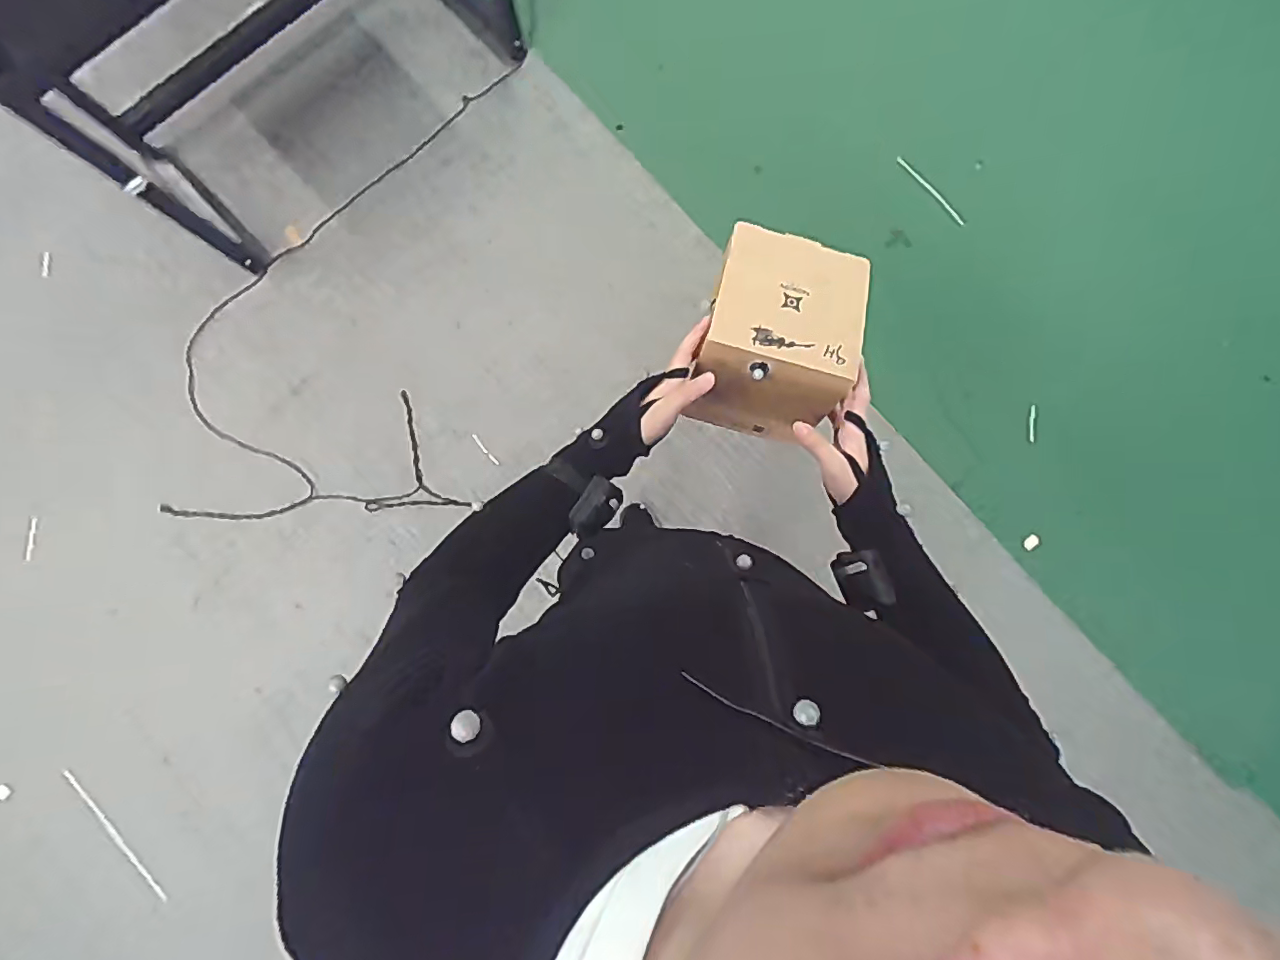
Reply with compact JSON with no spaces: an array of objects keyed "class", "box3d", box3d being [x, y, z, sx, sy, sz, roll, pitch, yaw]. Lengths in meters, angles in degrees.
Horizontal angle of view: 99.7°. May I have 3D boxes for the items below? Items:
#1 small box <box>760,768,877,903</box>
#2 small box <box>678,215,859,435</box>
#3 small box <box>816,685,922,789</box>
[{"class":"small box","box3d":[0.417,0.834,1.292,0.168,0.176,0.179,-38,85,-6]},{"class":"small box","box3d":[0.152,-0.183,0.675,0.168,0.176,0.179,14,67,-1]},{"class":"small box","box3d":[0.611,0.683,1.470,0.168,0.176,0.179,-41,85,-4]}]
